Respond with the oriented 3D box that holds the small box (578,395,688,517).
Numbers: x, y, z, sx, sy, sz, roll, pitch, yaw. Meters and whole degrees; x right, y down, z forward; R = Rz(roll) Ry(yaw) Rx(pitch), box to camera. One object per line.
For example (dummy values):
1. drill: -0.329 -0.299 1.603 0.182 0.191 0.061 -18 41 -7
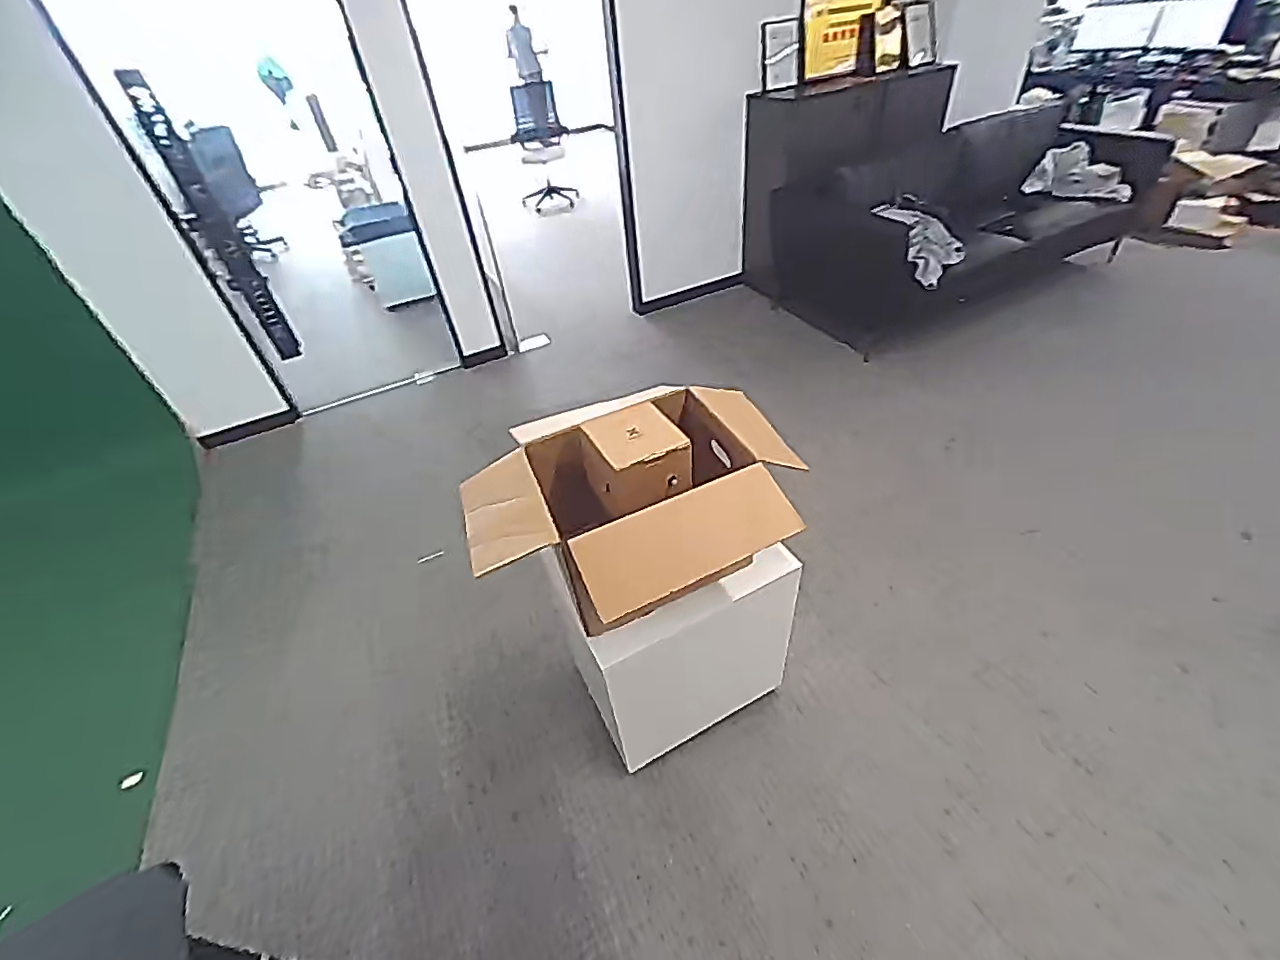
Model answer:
1. small box: -0.011 -0.044 1.108 0.168 0.176 0.179 -21 42 -19
